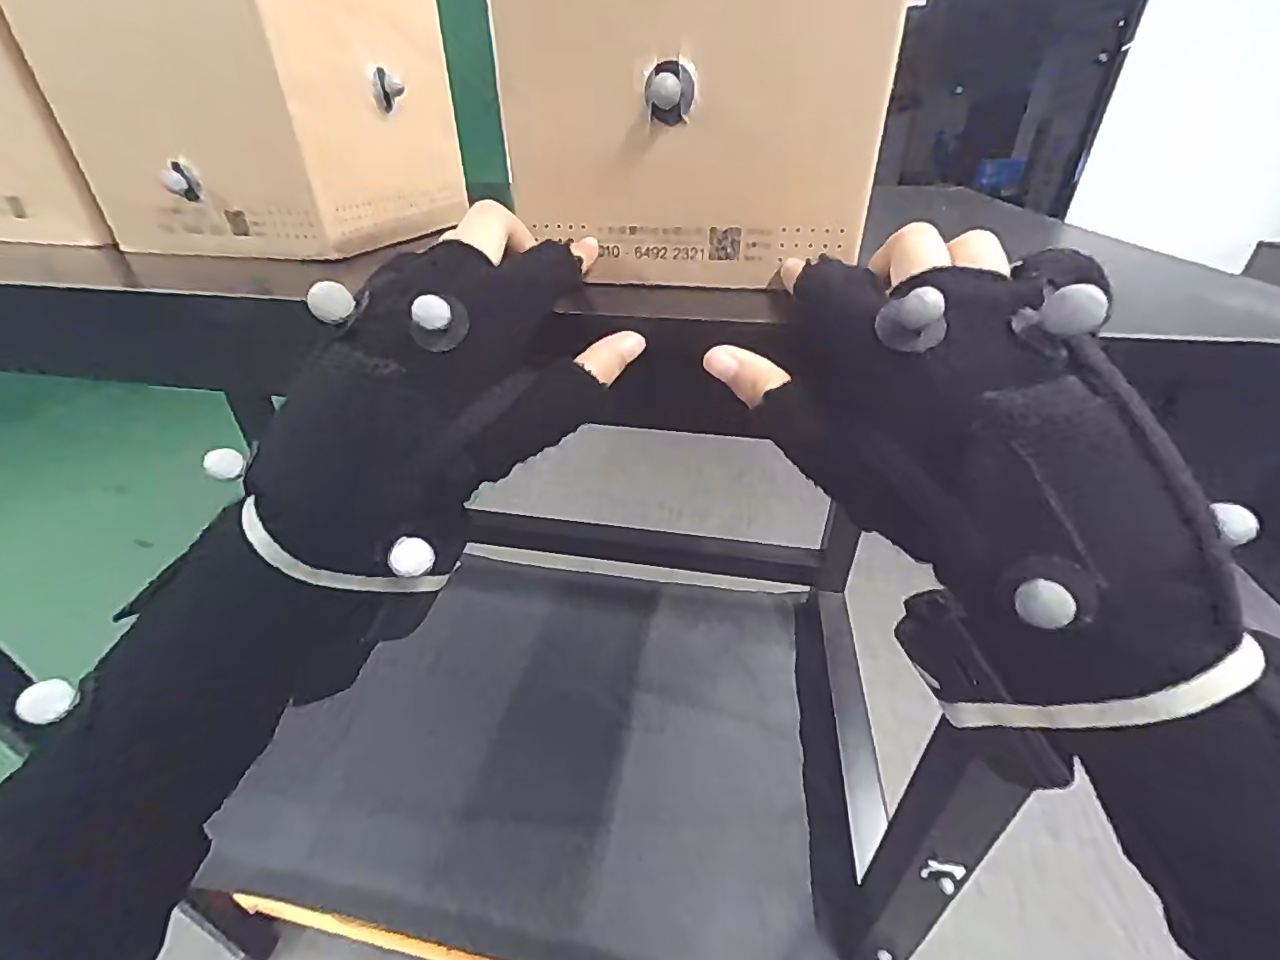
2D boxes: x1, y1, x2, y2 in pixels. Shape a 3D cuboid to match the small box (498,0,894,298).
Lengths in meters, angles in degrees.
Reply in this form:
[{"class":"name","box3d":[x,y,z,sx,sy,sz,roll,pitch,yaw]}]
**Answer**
[{"class":"small box","box3d":[0.036,-0.207,0.300,0.168,0.176,0.179,7,33,10]}]
